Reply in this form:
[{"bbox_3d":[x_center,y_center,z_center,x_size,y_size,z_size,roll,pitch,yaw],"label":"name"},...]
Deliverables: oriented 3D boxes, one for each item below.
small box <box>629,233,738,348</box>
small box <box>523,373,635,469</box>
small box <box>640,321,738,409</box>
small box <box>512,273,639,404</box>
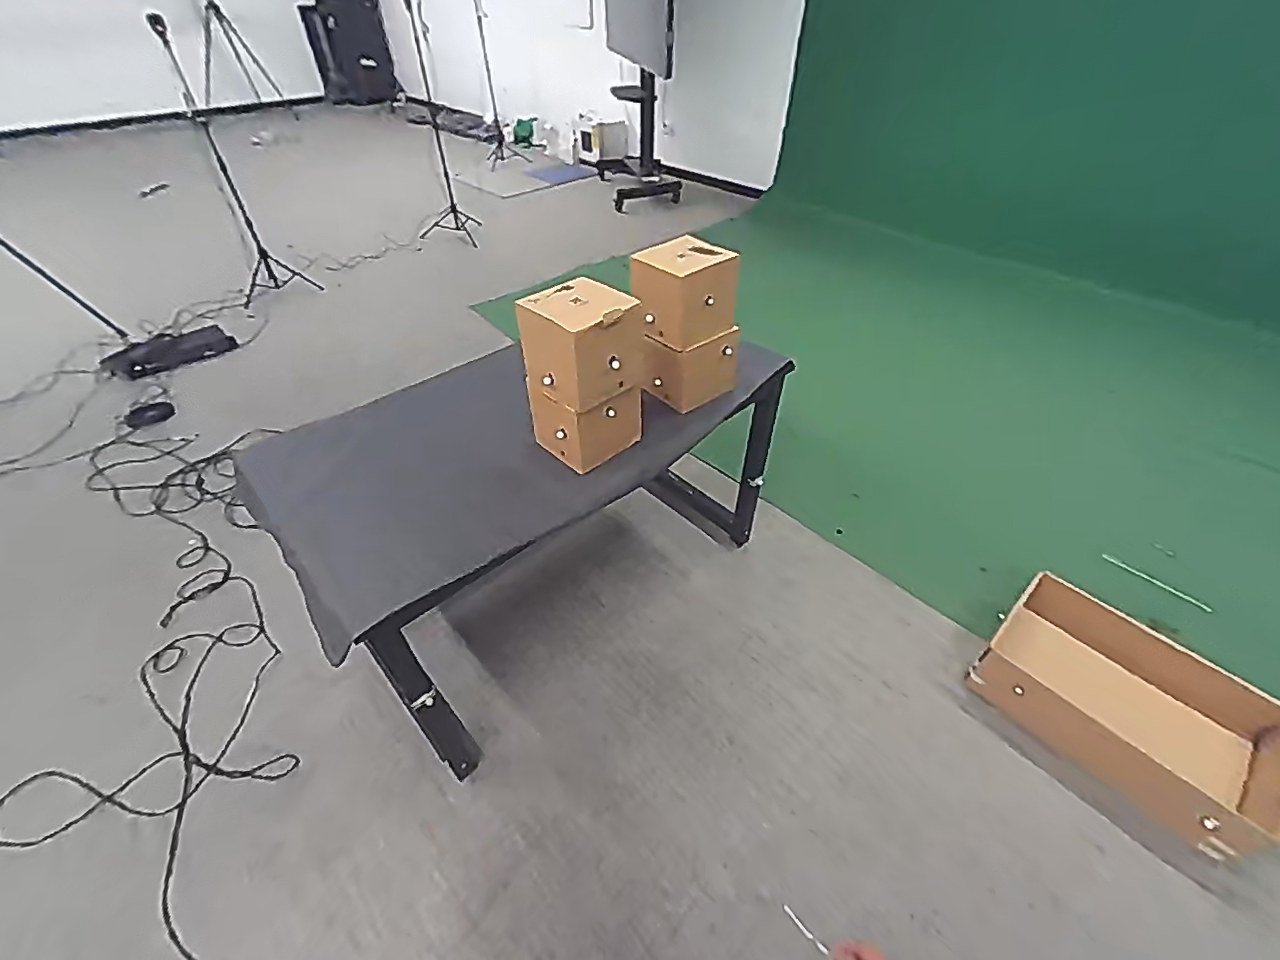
[{"bbox_3d":[0.091,-0.420,1.195,0.179,0.176,0.168,-31,50,-27],"label":"small box"},{"bbox_3d":[-0.123,-0.152,1.152,0.179,0.176,0.168,-33,53,-32],"label":"small box"},{"bbox_3d":[0.110,-0.299,1.306,0.179,0.176,0.168,-29,49,-27],"label":"small box"},{"bbox_3d":[-0.116,-0.266,1.033,0.168,0.176,0.179,-34,53,-30],"label":"small box"}]
